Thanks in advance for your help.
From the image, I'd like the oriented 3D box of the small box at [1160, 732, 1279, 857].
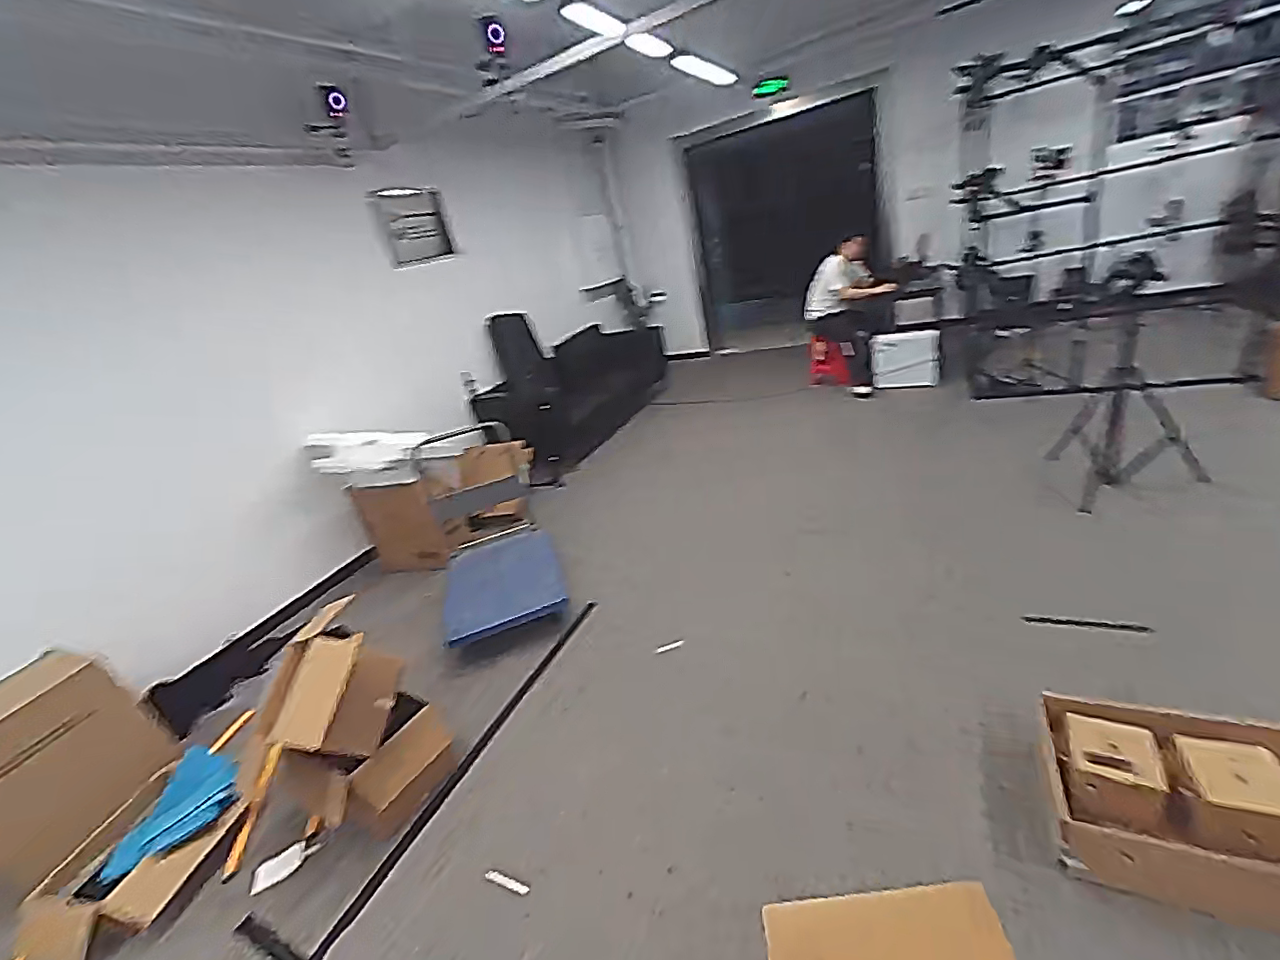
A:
[{"bbox_3d":[1.359,0.730,1.260,0.168,0.176,0.179,-1,27,26],"label":"small box"}]
